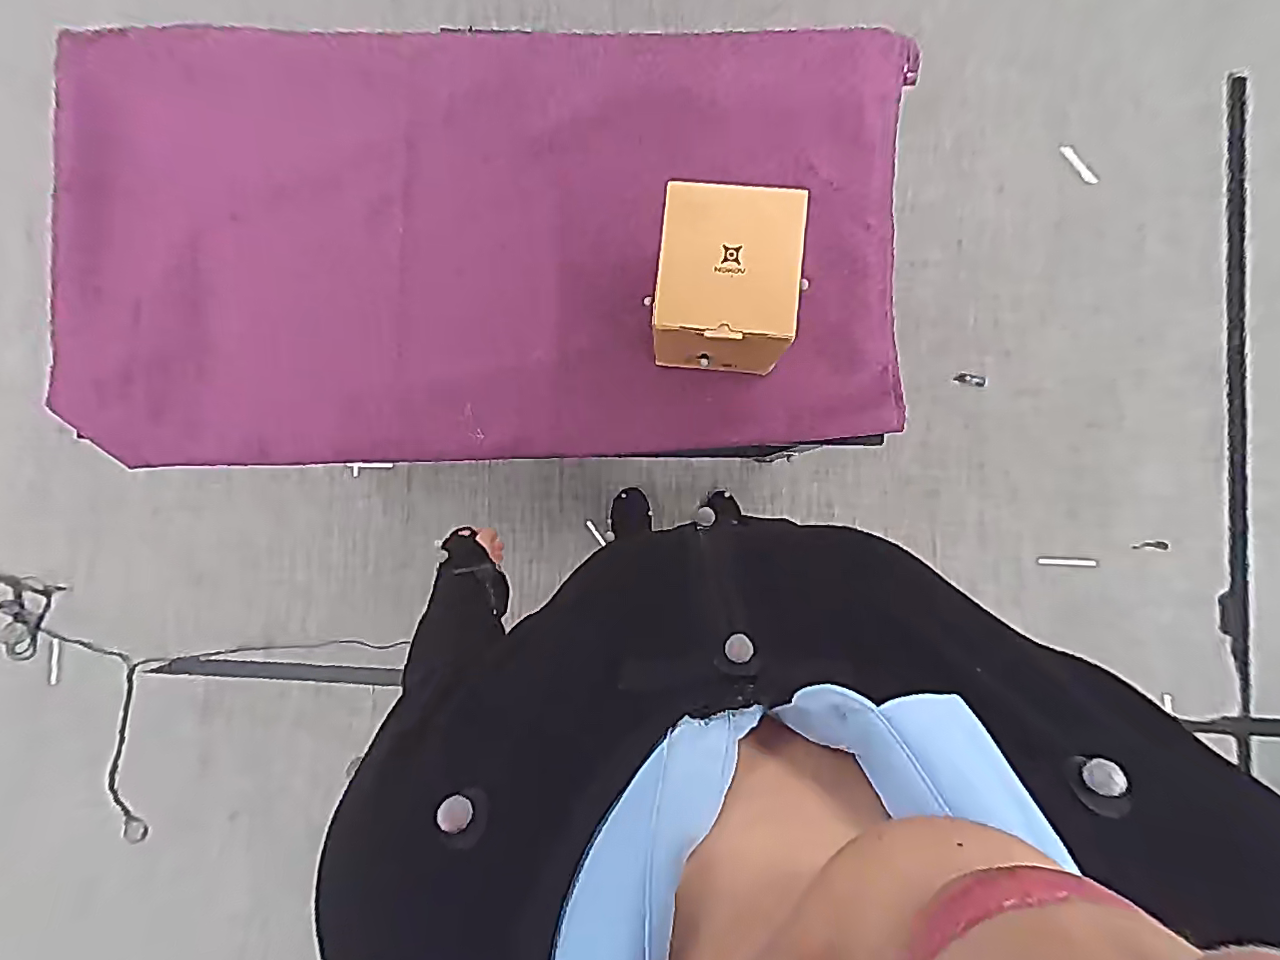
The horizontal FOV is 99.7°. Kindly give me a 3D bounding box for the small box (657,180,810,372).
[{"bbox_3d":[0.111,-0.252,0.702,0.168,0.176,0.179,5,88,3],"label":"small box"}]
